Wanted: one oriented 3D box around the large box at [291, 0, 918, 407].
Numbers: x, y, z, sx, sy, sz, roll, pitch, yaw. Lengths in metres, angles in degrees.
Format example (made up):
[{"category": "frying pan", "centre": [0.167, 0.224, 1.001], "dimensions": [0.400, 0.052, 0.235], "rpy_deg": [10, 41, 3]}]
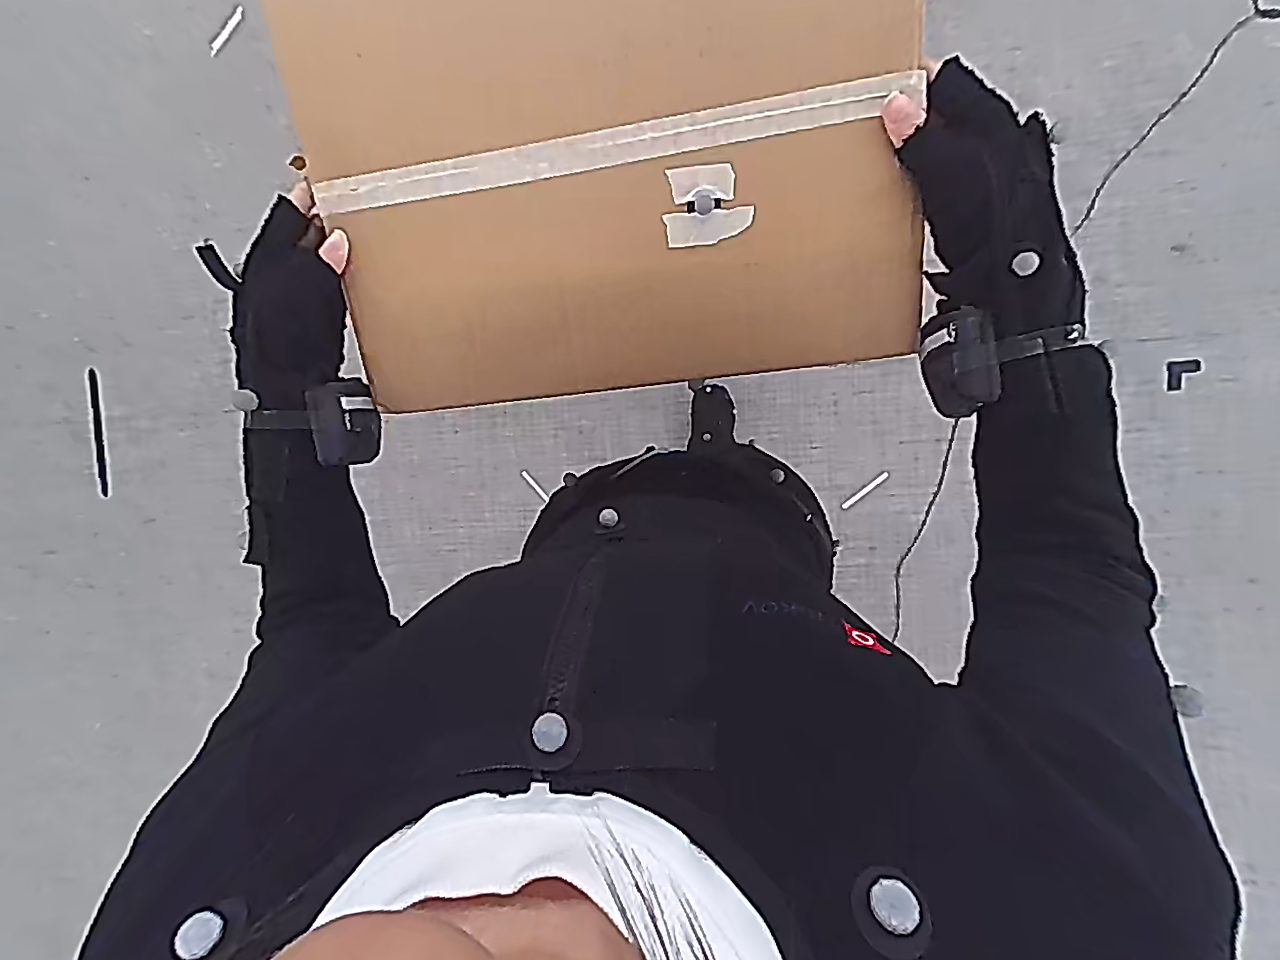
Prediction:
[{"category": "large box", "centre": [-0.008, -0.269, 0.510], "dimensions": [0.408, 0.320, 0.320], "rpy_deg": [-6, 107, 7]}]
